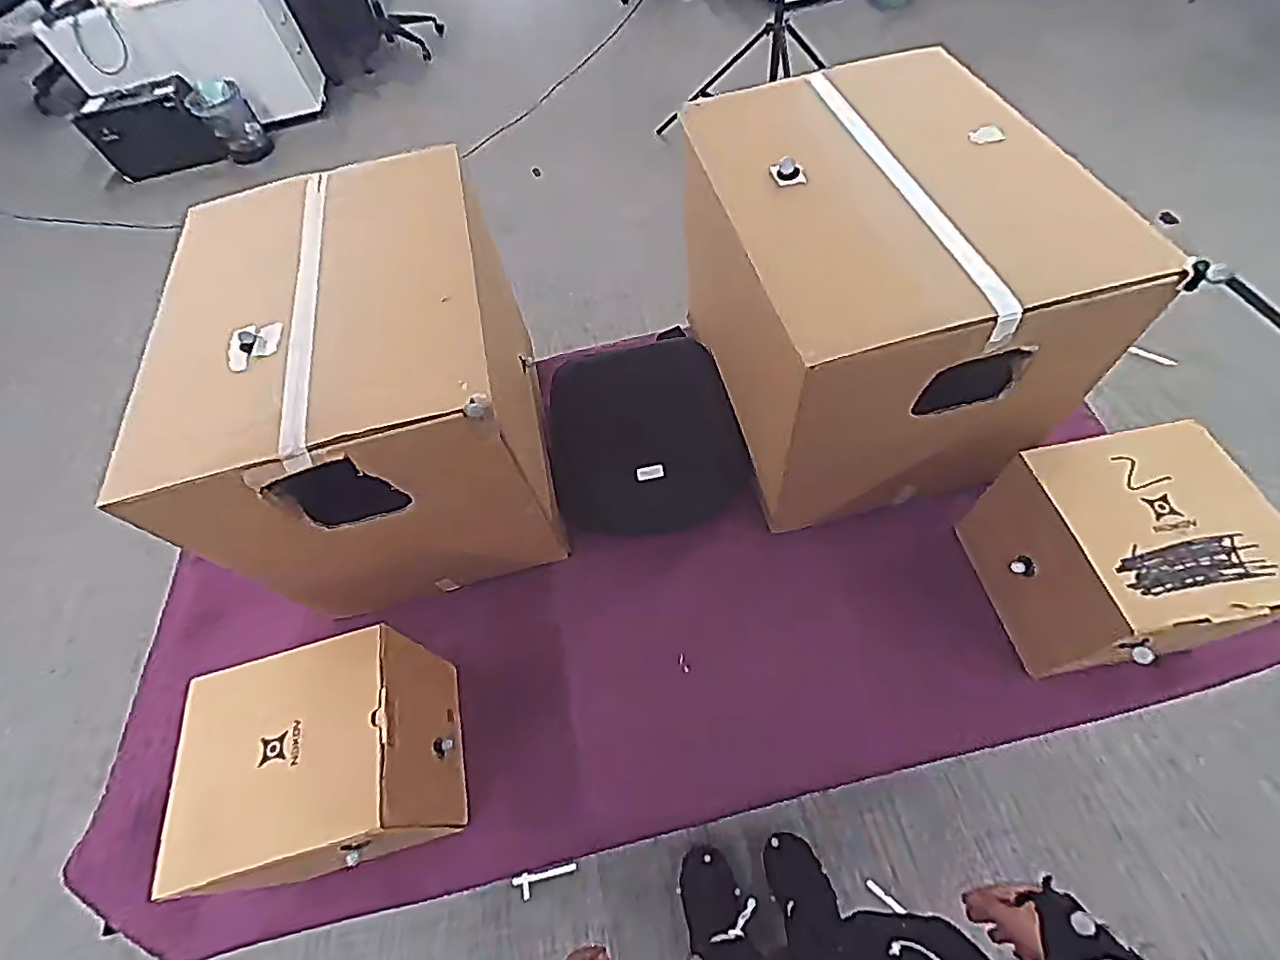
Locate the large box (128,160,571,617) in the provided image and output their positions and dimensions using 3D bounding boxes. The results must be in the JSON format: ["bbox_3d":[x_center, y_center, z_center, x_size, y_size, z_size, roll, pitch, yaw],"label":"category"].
[{"bbox_3d":[-0.295,-0.100,0.656,0.320,0.320,0.408,-16,60,-2],"label":"large box"}]

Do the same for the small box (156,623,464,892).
[{"bbox_3d":[-0.289,0.263,0.515,0.179,0.176,0.168,-17,57,-4],"label":"small box"}]
